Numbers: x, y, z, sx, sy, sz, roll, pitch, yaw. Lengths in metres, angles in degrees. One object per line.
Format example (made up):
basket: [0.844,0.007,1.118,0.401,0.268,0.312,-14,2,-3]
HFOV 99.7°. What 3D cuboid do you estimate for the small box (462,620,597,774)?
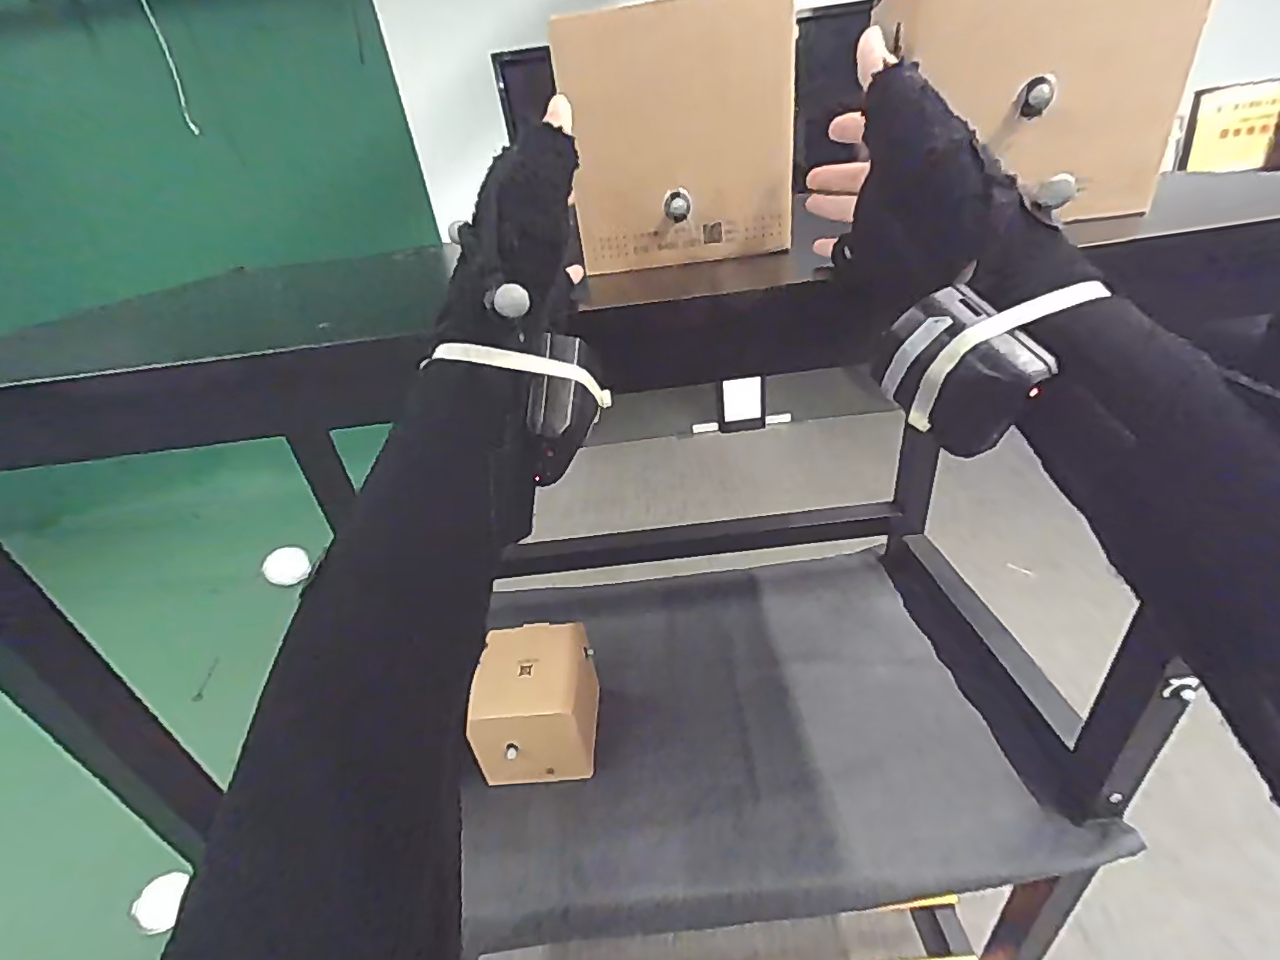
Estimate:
small box: [-0.167,0.357,0.883,0.168,0.176,0.179,-6,30,3]

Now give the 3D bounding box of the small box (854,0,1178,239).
small box: [0.275,-0.296,0.434,0.168,0.176,0.179,-1,30,12]
